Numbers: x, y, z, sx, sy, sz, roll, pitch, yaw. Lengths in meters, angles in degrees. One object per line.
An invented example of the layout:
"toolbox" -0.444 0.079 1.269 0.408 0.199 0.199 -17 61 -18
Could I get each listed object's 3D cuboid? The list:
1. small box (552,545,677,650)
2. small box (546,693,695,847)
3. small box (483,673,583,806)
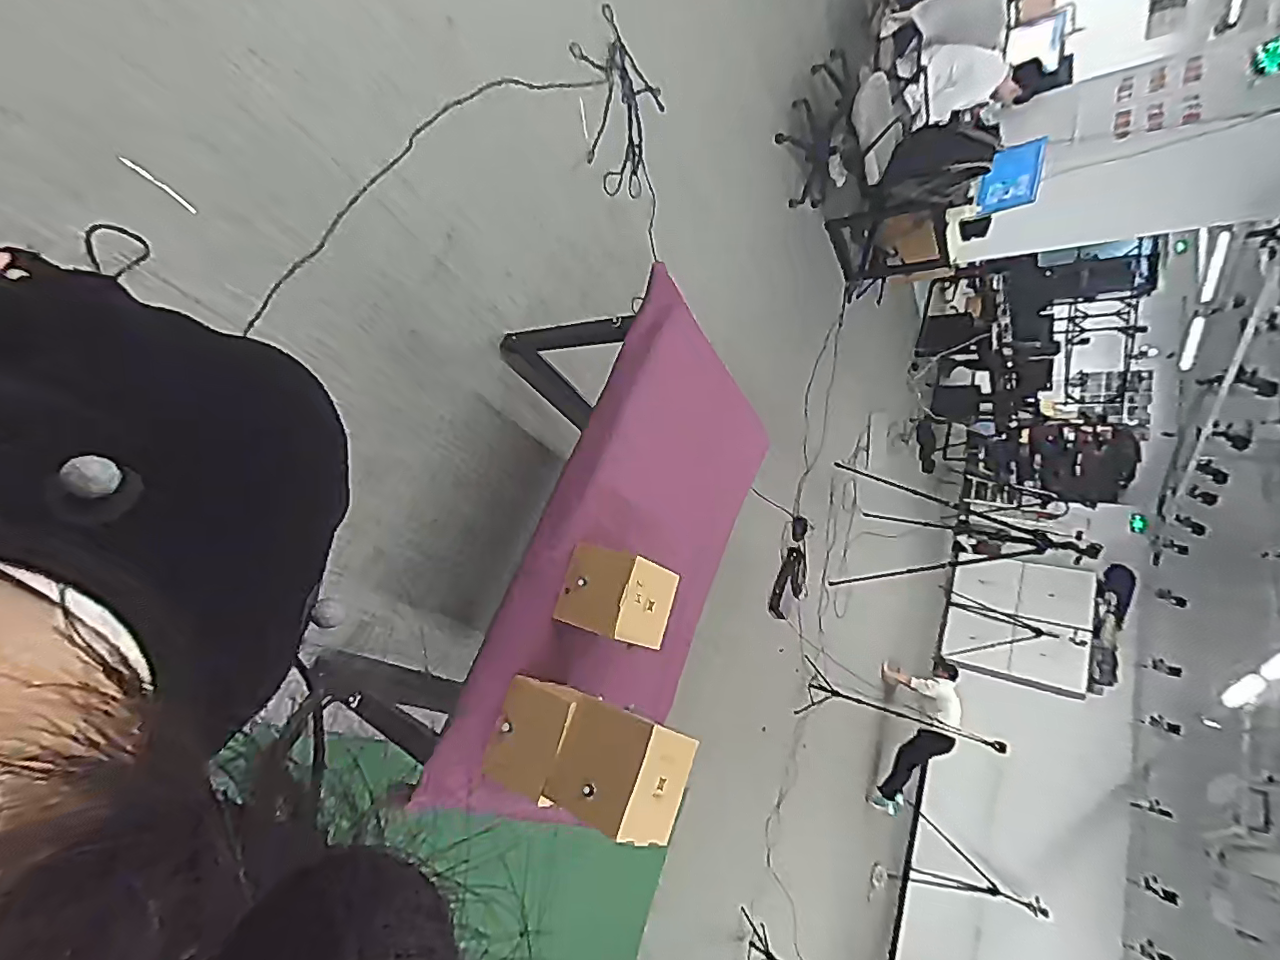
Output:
"small box" -0.052 0.245 1.147 0.179 0.176 0.168 35 67 -48
"small box" -0.036 0.499 0.938 0.168 0.176 0.179 45 60 -44
"small box" -0.171 0.492 1.032 0.168 0.176 0.179 38 66 -47
